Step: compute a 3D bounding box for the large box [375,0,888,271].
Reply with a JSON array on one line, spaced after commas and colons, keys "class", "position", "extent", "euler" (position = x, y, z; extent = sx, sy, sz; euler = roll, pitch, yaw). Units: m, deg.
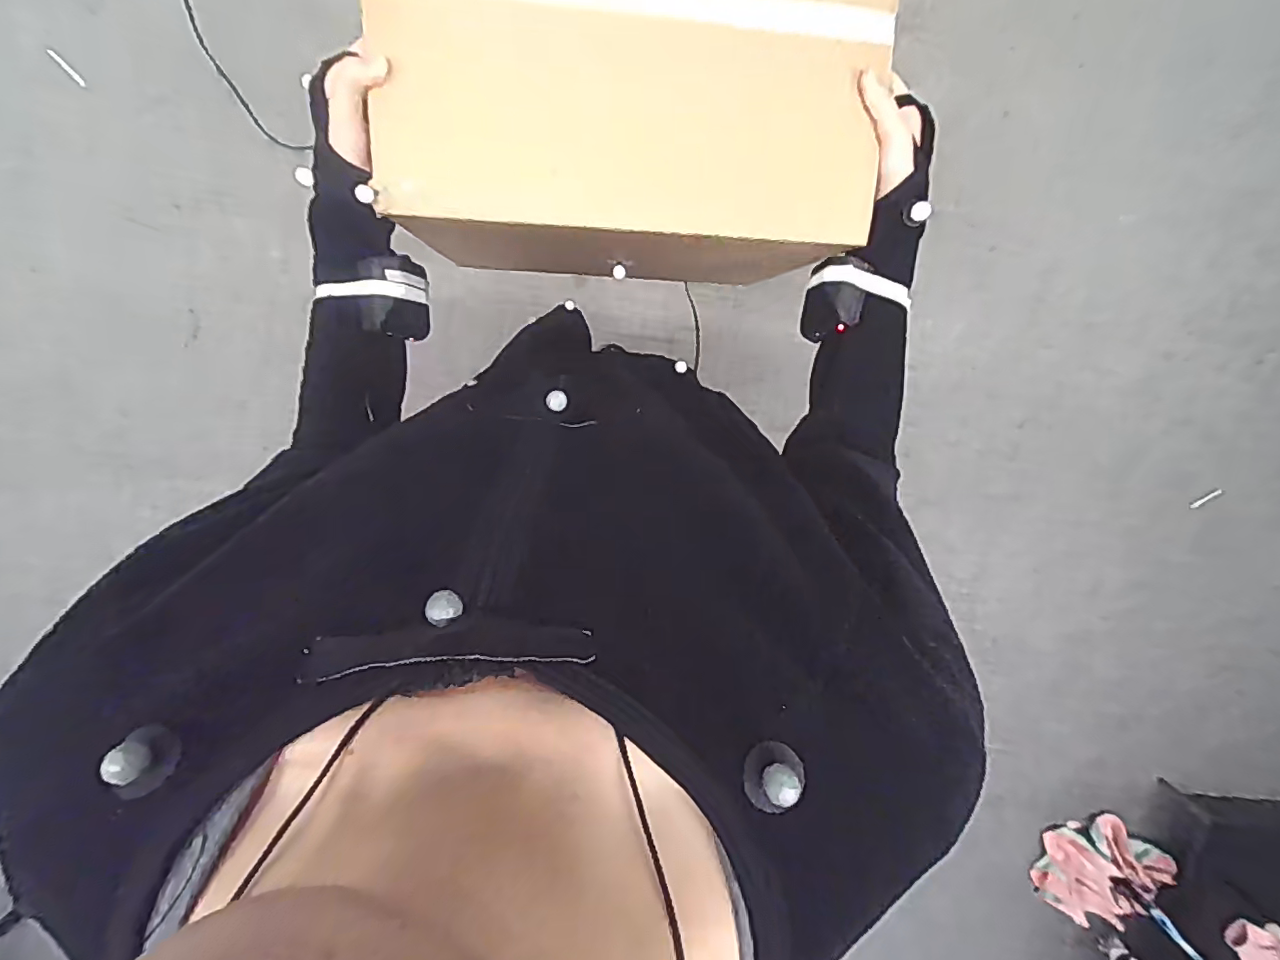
[{"class": "large box", "position": [-0.013, -0.399, 0.561], "extent": [0.408, 0.320, 0.320], "euler": [1, 104, -7]}]
